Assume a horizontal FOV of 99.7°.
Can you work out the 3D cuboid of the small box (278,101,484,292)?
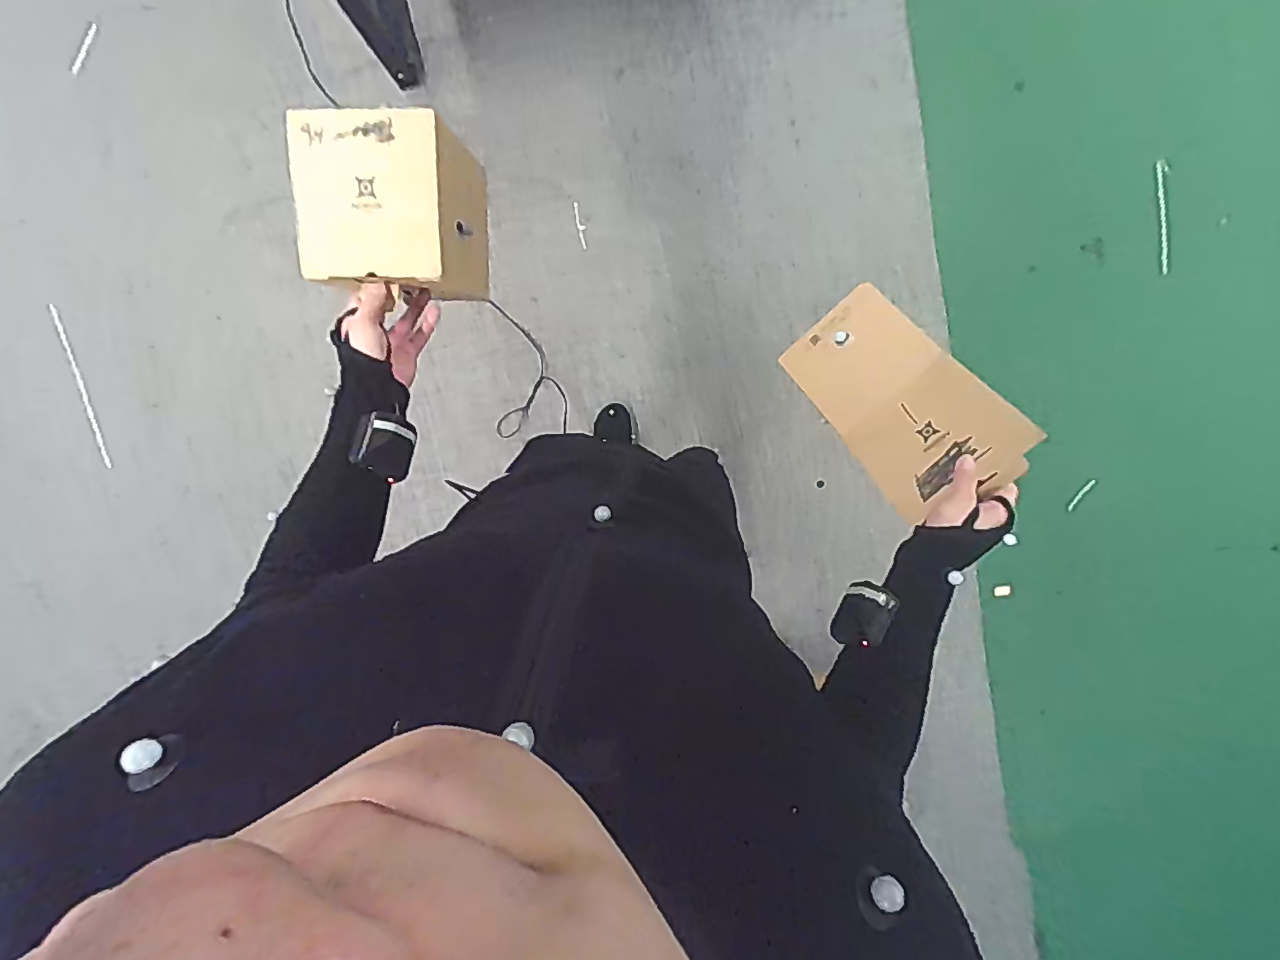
[{"bbox_3d":[-0.300,-0.332,0.666,0.168,0.176,0.179,2,102,3],"label":"small box"}]
